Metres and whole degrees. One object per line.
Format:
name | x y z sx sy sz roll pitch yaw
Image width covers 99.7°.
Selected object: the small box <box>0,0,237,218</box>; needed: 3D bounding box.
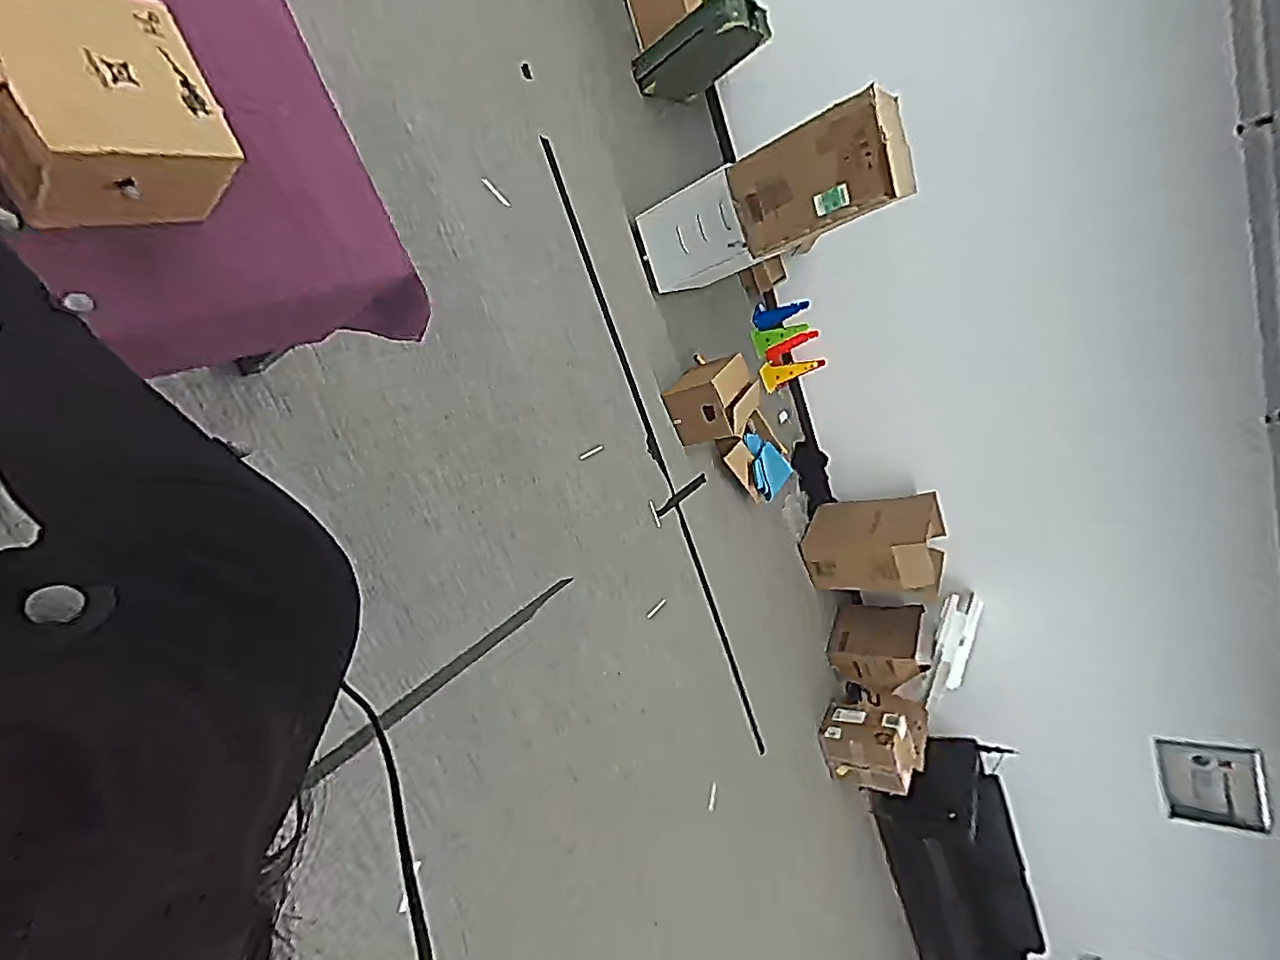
small box | -0.596 -0.404 0.588 0.179 0.176 0.168 -38 112 -48
